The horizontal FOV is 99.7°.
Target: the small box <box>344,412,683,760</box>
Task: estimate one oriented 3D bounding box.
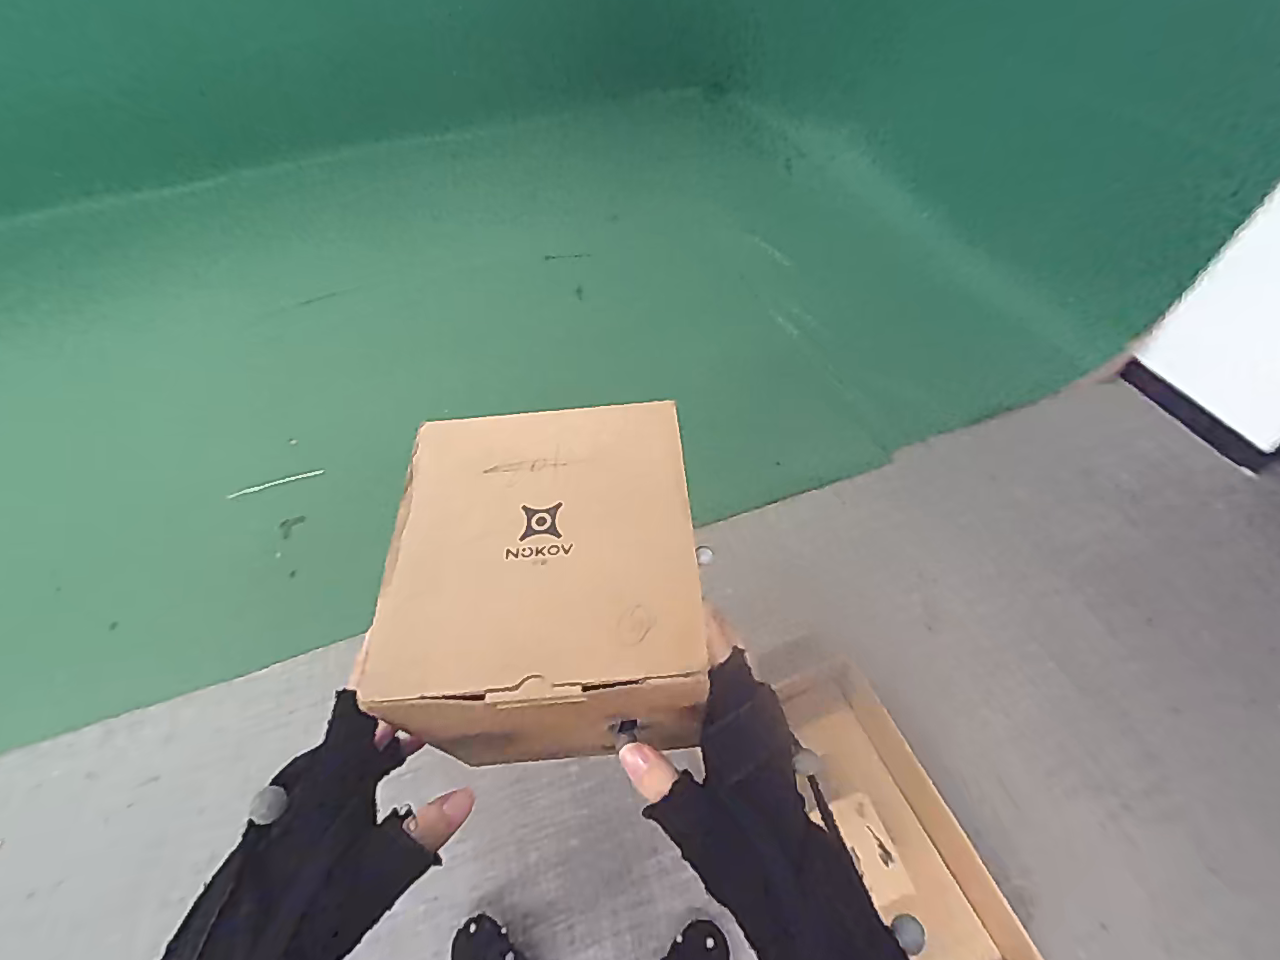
[{"bbox_3d":[-0.061,0.080,0.366,0.168,0.176,0.179,-6,53,0],"label":"small box"}]
